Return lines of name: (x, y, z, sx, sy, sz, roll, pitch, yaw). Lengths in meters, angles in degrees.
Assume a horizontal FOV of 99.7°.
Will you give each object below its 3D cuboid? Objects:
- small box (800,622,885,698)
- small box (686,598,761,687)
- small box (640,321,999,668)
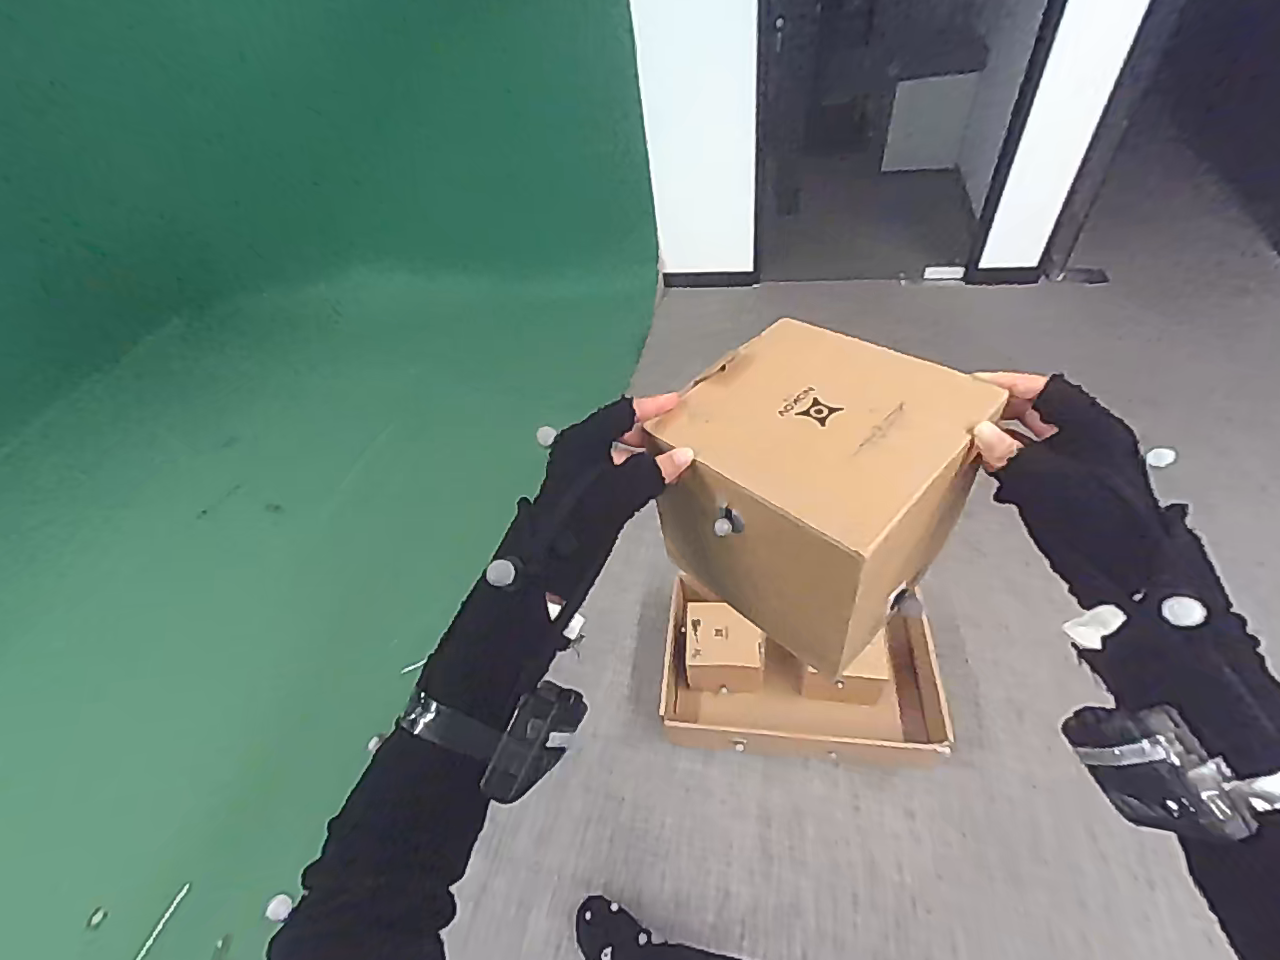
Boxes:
small box: (0.485, 0.418, 1.321, 0.179, 0.176, 0.168, 2, 50, 13)
small box: (0.209, 0.416, 1.375, 0.179, 0.176, 0.168, 0, 49, 8)
small box: (0.125, 0.009, 0.419, 0.168, 0.176, 0.179, -39, 52, -22)
